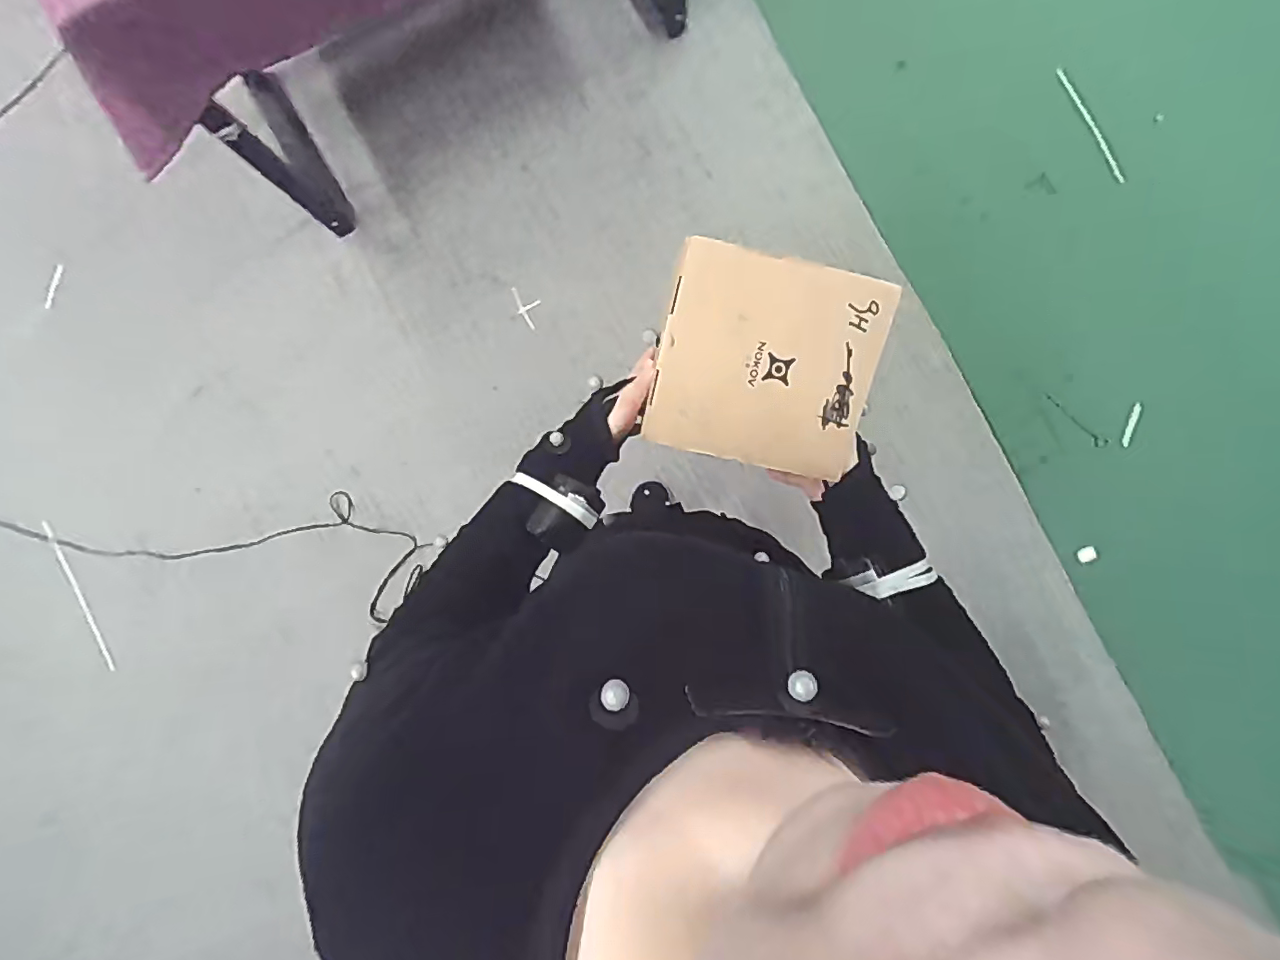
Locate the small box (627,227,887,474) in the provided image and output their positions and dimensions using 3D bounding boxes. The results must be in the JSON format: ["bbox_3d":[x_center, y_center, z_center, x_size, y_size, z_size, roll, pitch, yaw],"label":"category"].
[{"bbox_3d":[0.092,-0.118,0.512,0.179,0.176,0.168,13,105,-3],"label":"small box"}]
